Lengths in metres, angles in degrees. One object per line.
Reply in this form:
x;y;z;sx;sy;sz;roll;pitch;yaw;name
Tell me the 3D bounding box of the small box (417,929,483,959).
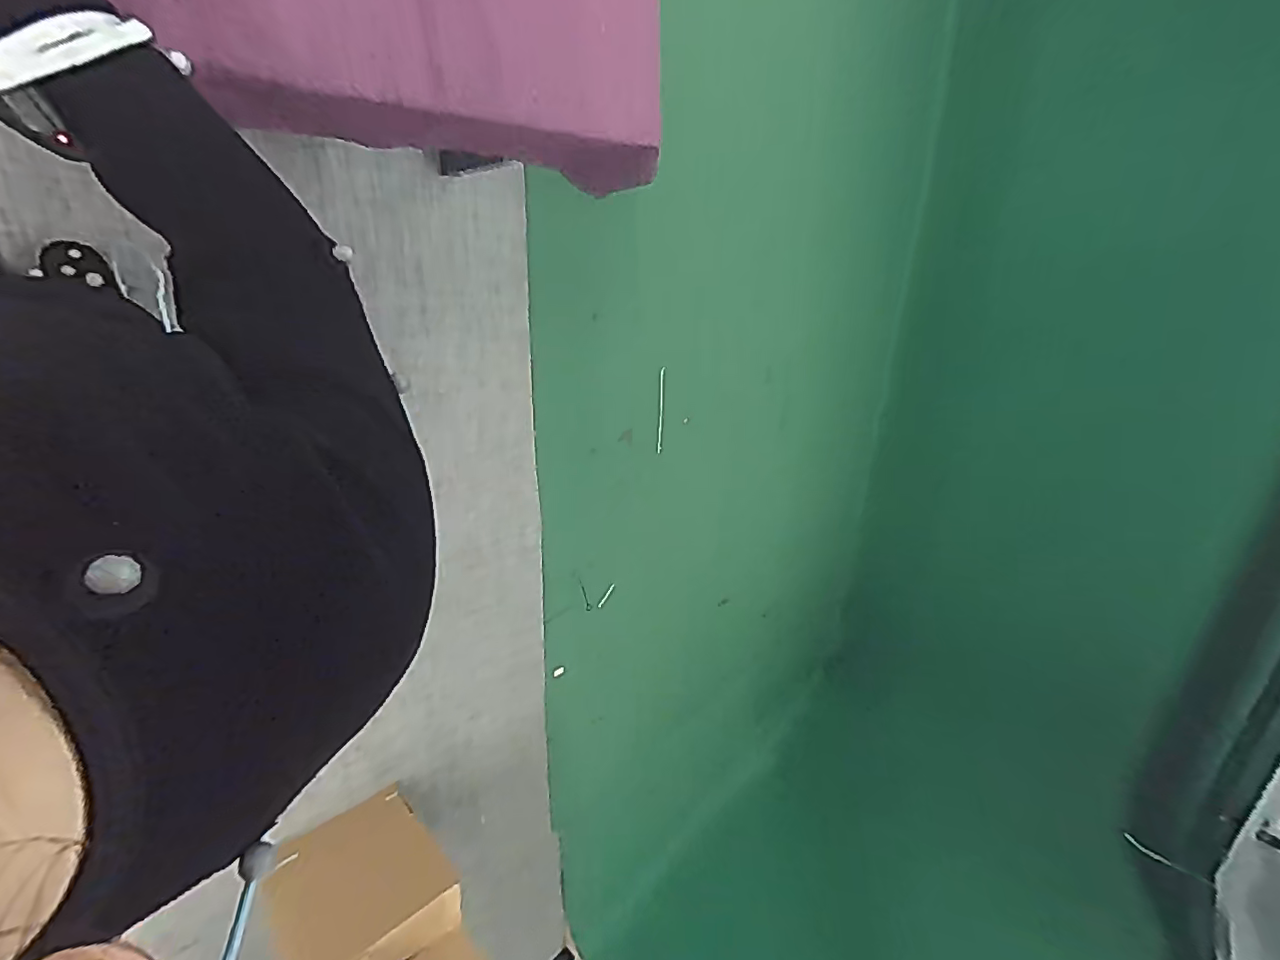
-0.525;1.407;1.488;0.179;0.176;0.168;-5;109;-45;small box
